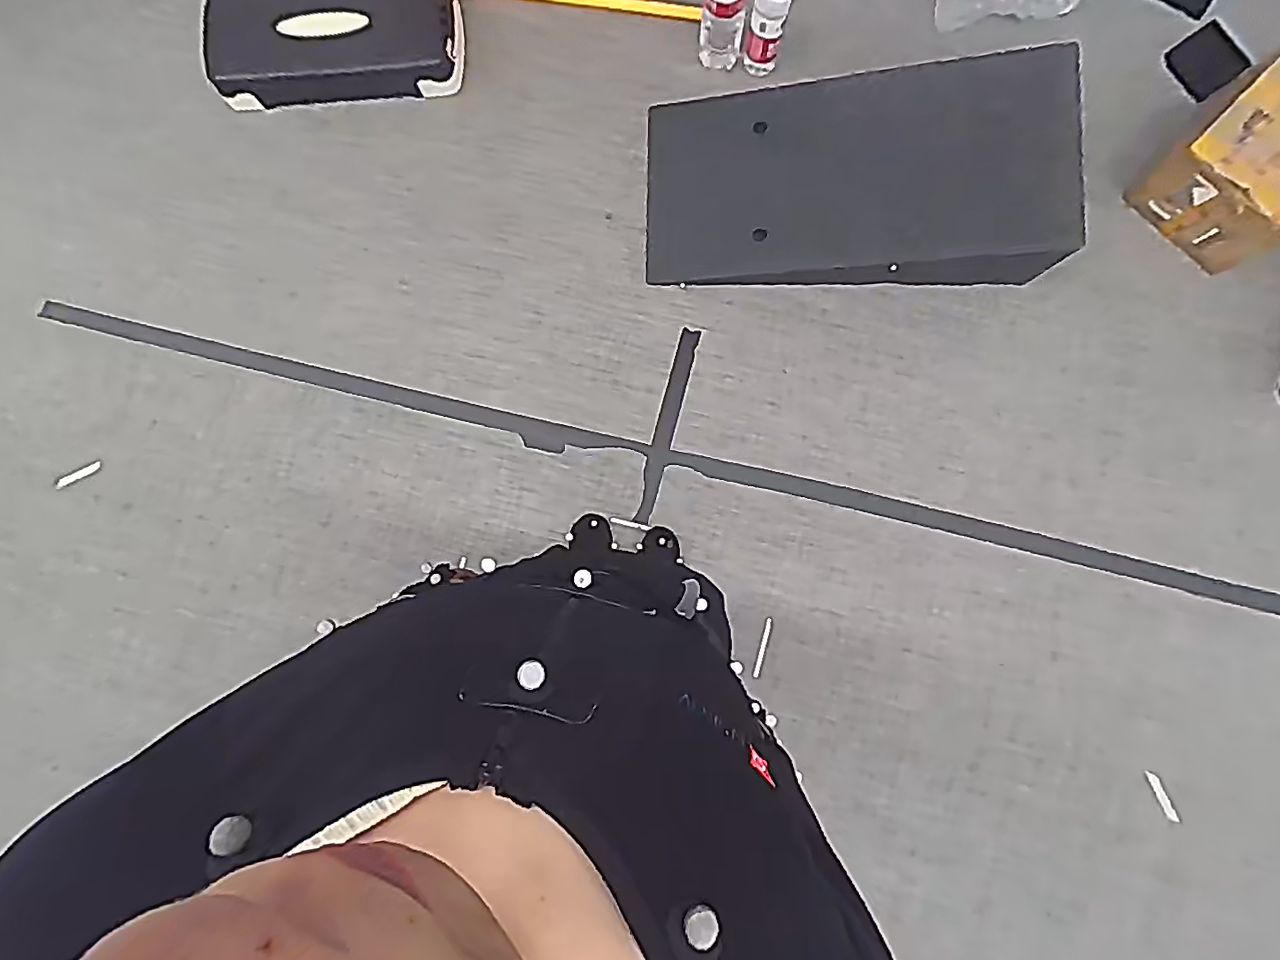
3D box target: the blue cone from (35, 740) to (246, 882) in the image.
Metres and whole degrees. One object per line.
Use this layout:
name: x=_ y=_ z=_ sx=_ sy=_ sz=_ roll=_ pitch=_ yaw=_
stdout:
blue cone: x=-1.114 y=0.762 z=1.212 sx=0.192 sy=0.380 sz=0.193 roll=15 pitch=87 yaw=4
